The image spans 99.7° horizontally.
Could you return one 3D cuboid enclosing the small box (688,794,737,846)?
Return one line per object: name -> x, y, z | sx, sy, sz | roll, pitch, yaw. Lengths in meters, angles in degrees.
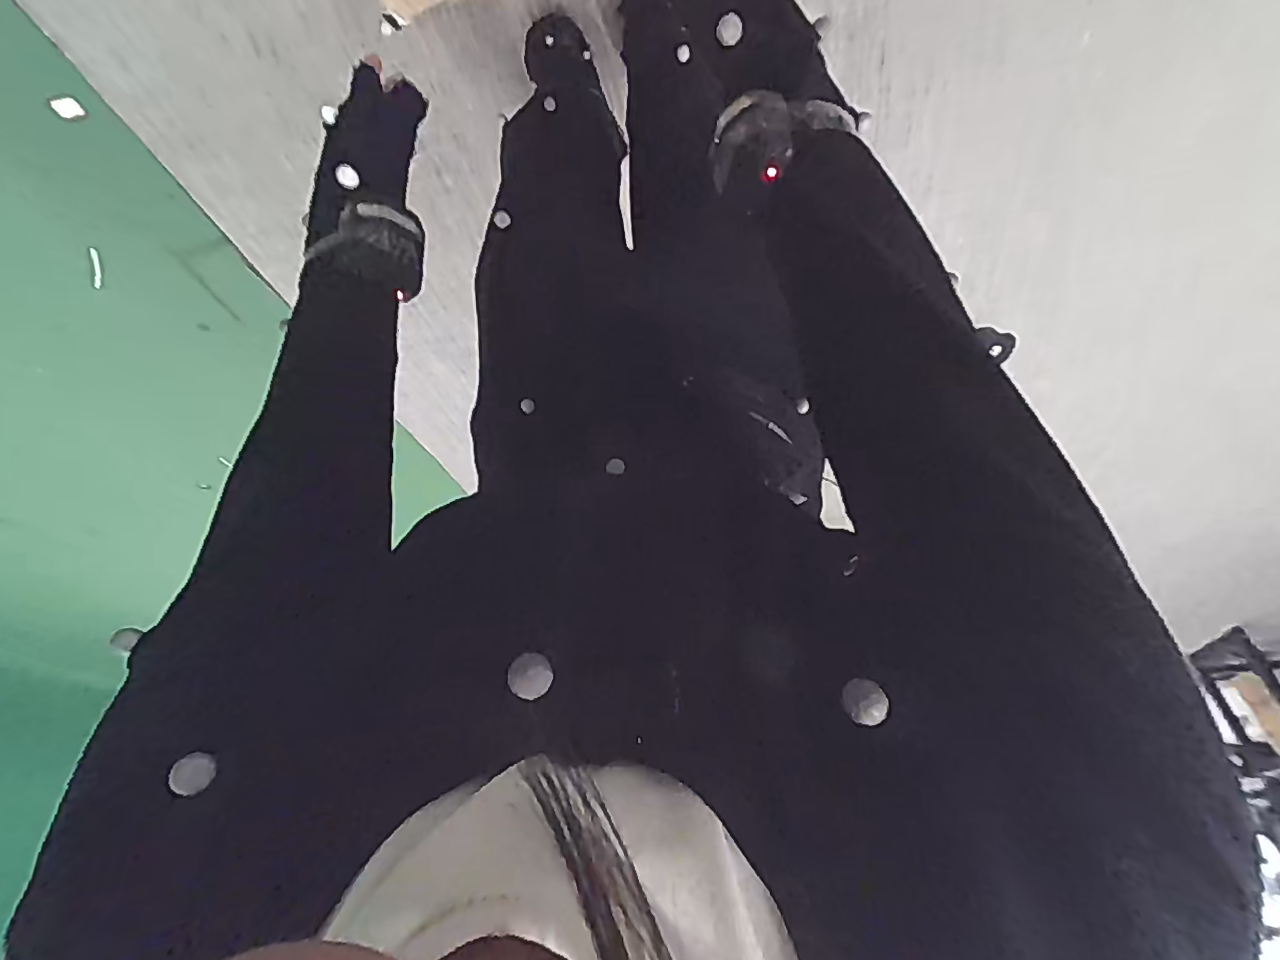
small box -> 0.290, 1.363, 2.172 | 0.168, 0.176, 0.179 | -10, 144, 11
